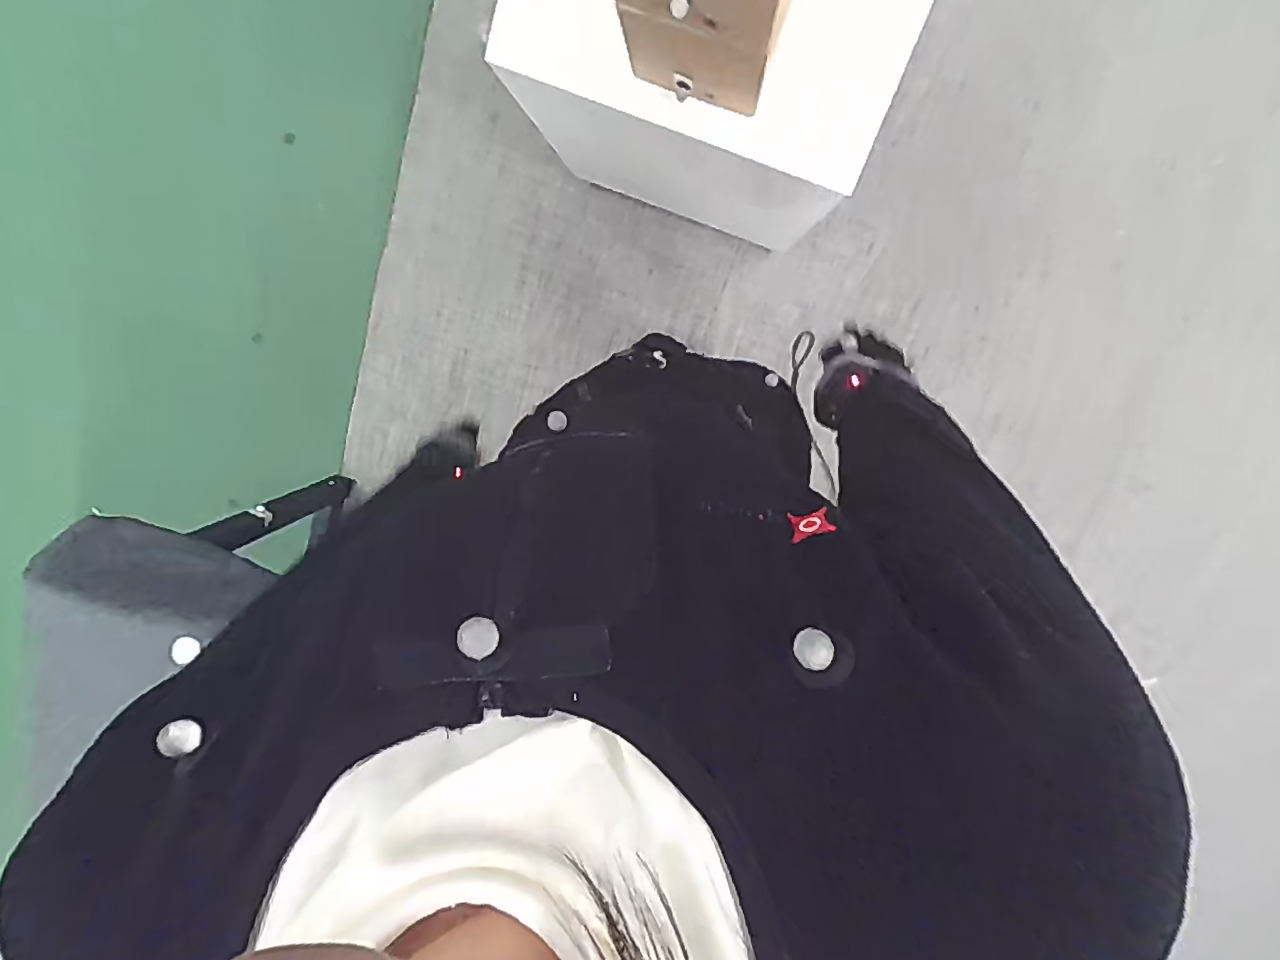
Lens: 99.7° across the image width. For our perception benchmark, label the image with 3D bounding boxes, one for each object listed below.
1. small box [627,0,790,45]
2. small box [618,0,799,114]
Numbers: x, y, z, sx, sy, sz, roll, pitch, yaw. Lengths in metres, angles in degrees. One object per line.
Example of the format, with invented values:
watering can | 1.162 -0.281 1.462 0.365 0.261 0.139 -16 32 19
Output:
small box | 0.068 -0.502 0.424 0.168 0.176 0.179 18 105 3
small box | 0.088 -0.540 0.582 0.168 0.176 0.179 19 108 3
